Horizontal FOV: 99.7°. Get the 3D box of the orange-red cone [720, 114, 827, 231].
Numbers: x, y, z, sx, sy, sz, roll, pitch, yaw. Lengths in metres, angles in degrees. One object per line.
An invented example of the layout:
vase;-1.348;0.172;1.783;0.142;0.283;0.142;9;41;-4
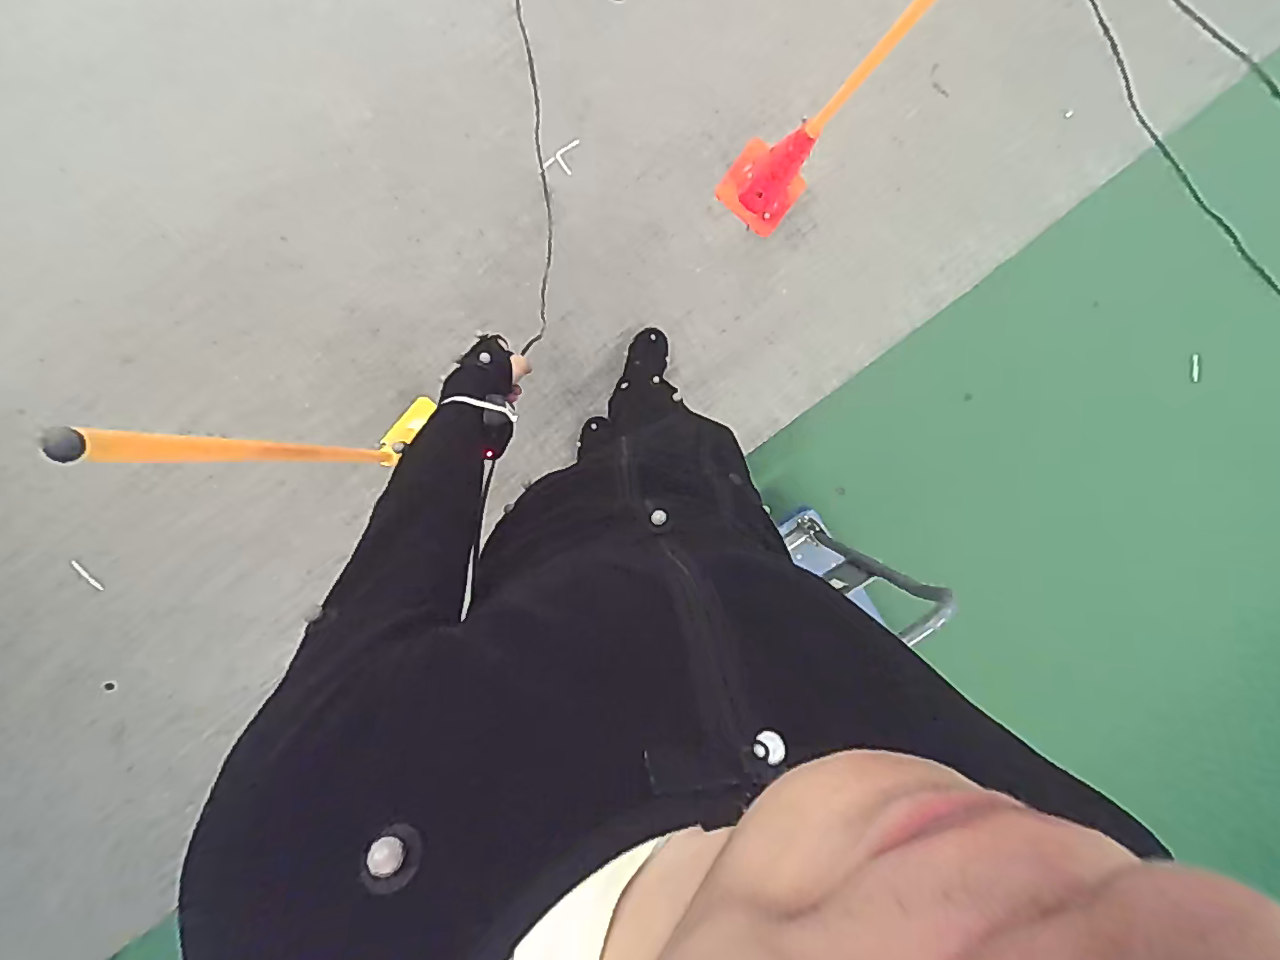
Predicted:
orange-red cone;0.366;-0.804;1.343;0.198;0.360;0.199;38;92;-11
